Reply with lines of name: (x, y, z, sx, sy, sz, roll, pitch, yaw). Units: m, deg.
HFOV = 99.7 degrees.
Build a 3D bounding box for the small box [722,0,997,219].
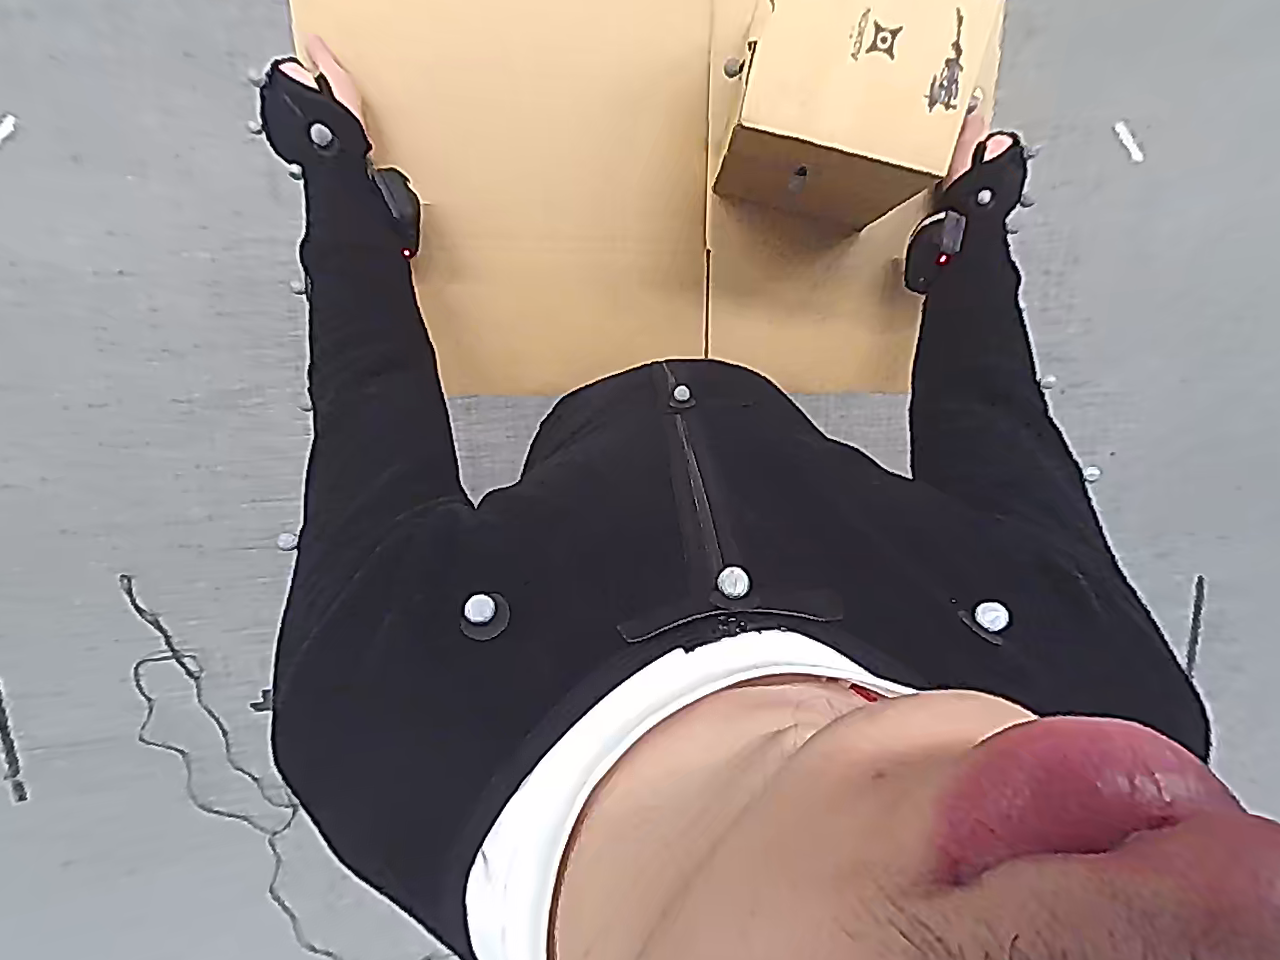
small box: (0.183, -0.362, 0.499, 0.179, 0.176, 0.168, 13, 102, -1)
